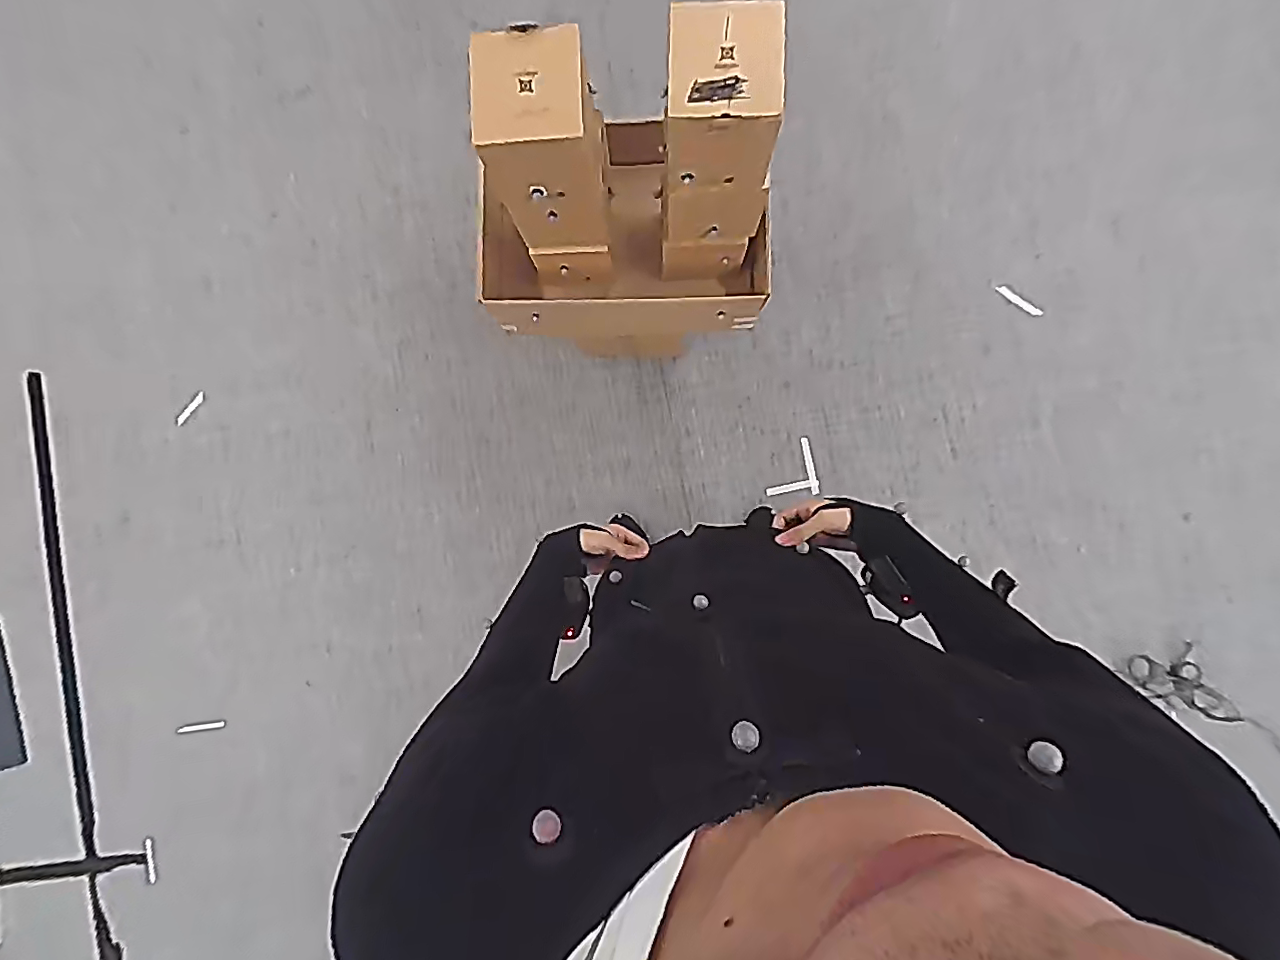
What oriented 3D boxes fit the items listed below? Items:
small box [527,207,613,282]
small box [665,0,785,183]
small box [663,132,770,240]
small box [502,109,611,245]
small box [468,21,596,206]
[{"bbox_3d":[-0.147,-0.545,1.182,0.168,0.176,0.179,-2,87,2],"label":"small box"},{"bbox_3d":[0.125,-0.587,0.838,0.168,0.176,0.179,1,87,3],"label":"small box"},{"bbox_3d":[0.134,-0.565,1.002,0.179,0.176,0.168,-2,87,2],"label":"small box"},{"bbox_3d":[-0.150,-0.560,1.018,0.179,0.176,0.168,0,87,2],"label":"small box"},{"bbox_3d":[-0.162,-0.567,0.855,0.168,0.176,0.179,-3,86,3],"label":"small box"}]
